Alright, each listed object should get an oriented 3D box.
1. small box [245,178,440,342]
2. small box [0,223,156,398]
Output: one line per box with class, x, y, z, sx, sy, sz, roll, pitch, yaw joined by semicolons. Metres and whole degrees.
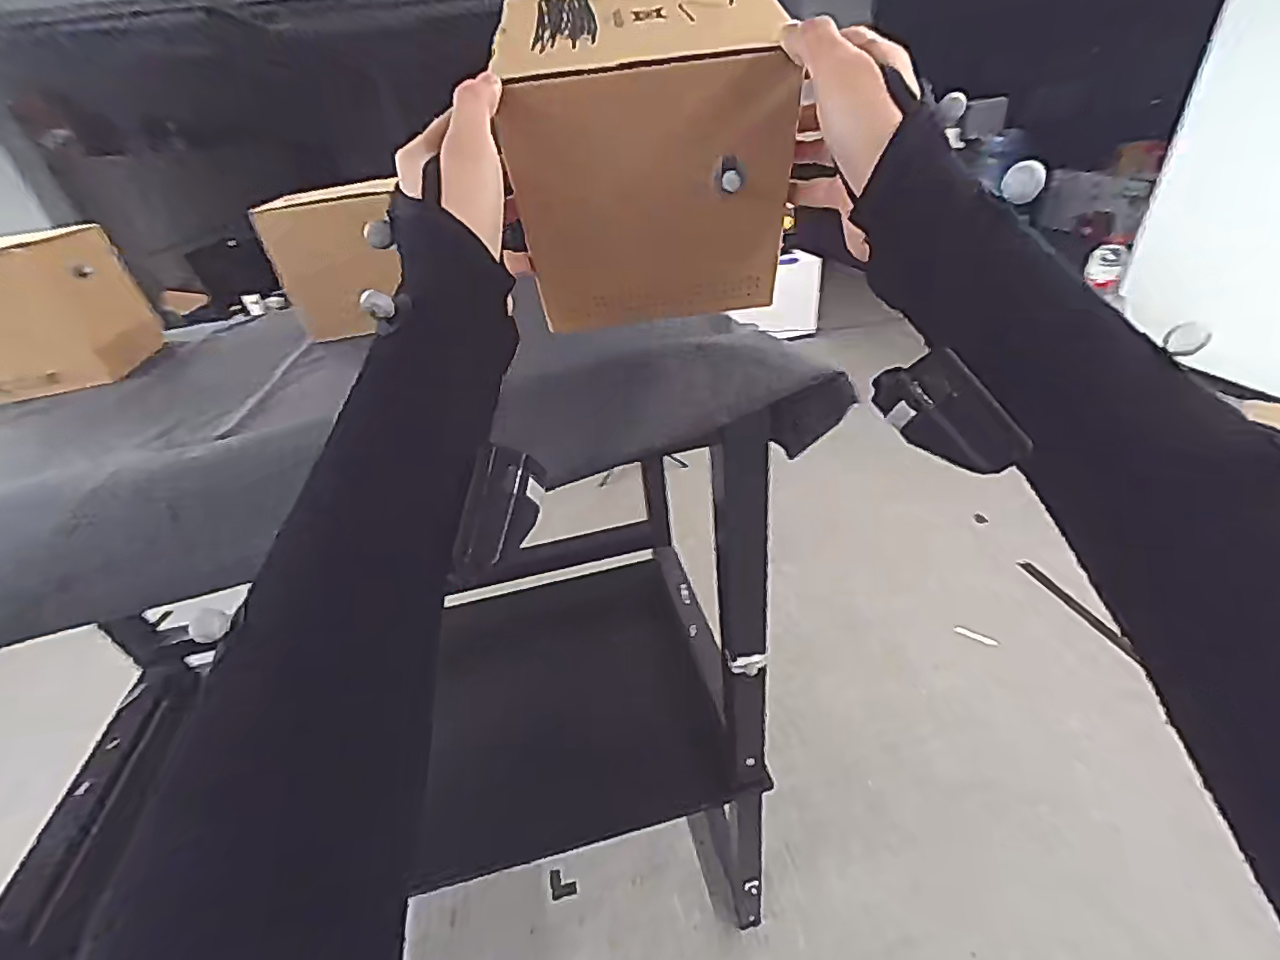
small box;-0.393;-0.310;0.756;0.179;0.176;0.168;-13;35;-8
small box;-0.784;-0.213;0.693;0.168;0.176;0.179;-15;35;-11
